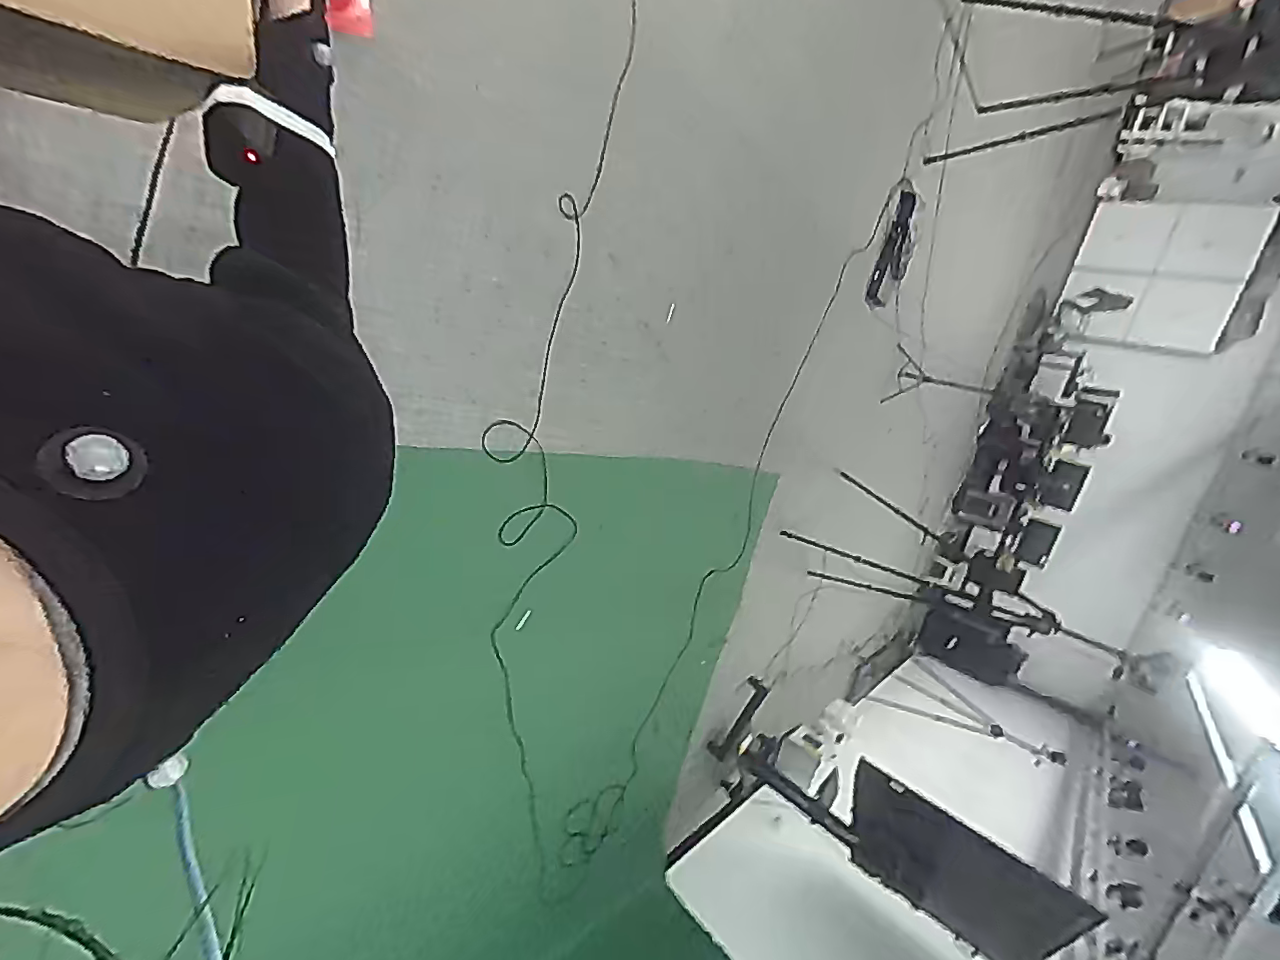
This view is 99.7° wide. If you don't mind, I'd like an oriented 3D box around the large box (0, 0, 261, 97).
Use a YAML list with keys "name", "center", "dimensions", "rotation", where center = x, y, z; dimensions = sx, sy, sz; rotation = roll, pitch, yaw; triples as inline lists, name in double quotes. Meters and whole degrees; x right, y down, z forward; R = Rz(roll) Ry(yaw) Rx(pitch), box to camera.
- name: "large box"
  center: [-0.537, -0.494, 0.339]
  dimensions: [0.408, 0.320, 0.320]
  rotation: [-16, 118, -49]
